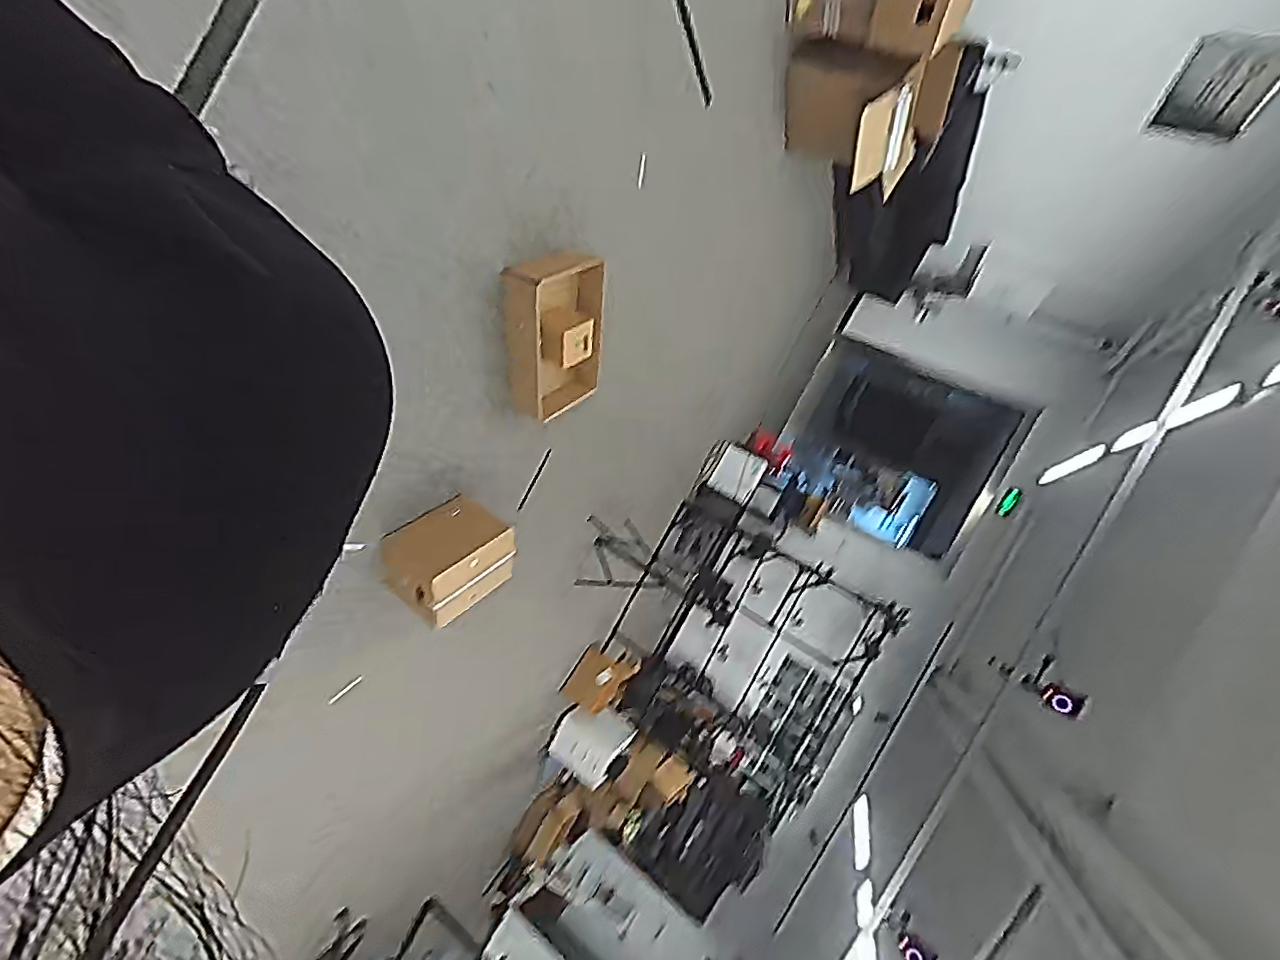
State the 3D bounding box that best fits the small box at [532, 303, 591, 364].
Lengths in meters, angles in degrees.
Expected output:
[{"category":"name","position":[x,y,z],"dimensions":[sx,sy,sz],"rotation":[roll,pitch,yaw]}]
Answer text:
[{"category":"small box","position":[-0.326,-0.611,2.239],"dimensions":[0.179,0.176,0.168],"rotation":[-40,150,-40]}]
